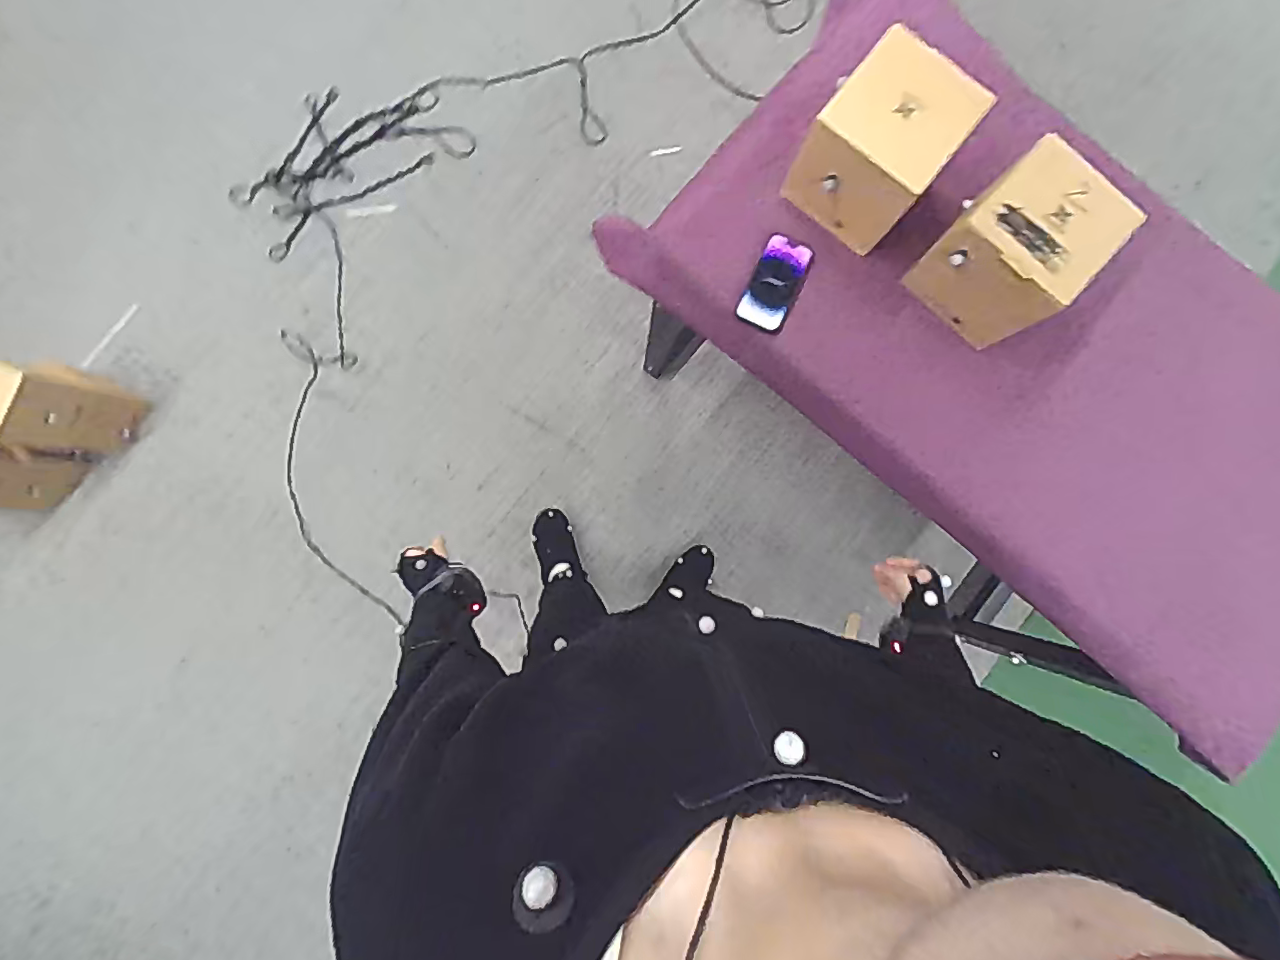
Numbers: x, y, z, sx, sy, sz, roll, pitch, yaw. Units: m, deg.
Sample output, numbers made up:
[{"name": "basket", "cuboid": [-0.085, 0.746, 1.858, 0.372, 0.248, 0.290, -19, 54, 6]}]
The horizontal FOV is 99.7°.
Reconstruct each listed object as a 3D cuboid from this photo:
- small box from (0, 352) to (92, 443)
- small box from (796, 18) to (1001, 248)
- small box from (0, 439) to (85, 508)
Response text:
[{"name": "small box", "cuboid": [-1.444, -0.194, 1.244, 0.179, 0.176, 0.168, 22, 86, 0]}, {"name": "small box", "cuboid": [0.344, -0.471, 0.763, 0.168, 0.176, 0.179, 39, 85, 2]}, {"name": "small box", "cuboid": [-1.607, -0.044, 1.390, 0.168, 0.176, 0.179, 39, 86, 2]}]
